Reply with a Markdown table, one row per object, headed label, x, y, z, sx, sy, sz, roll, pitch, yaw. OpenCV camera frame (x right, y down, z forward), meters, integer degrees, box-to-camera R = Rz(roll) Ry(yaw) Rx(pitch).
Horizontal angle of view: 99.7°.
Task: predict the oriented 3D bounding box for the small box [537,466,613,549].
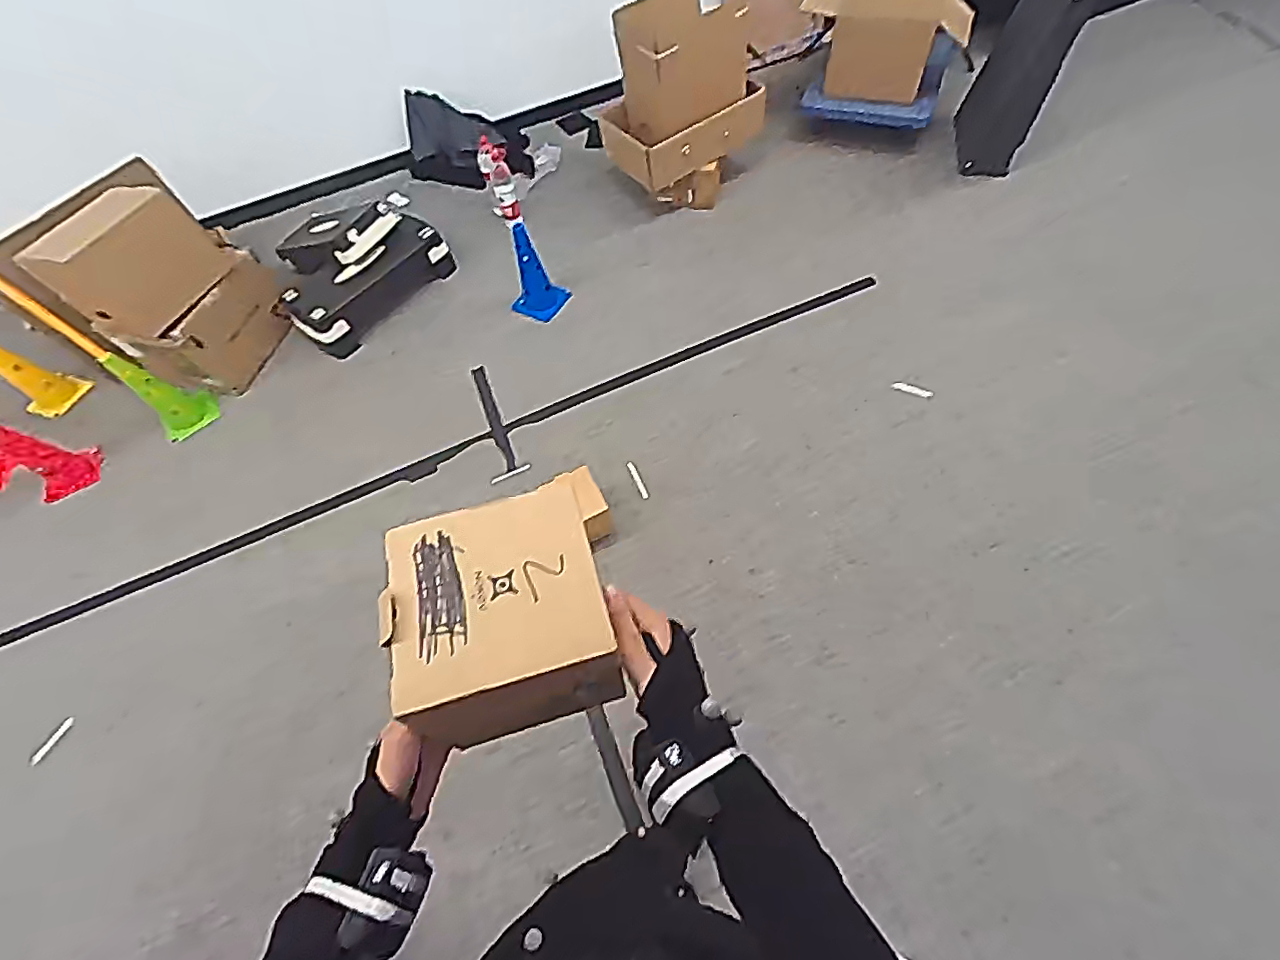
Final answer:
| label | x | y | z | sx | sy | sz | roll | pitch | yaw |
| --- | --- | --- | --- | --- | --- | --- | --- | --- | --- |
| small box | -0.198 | 0.095 | 1.687 | 0.168 | 0.176 | 0.179 | -26 | 61 | -9 |
